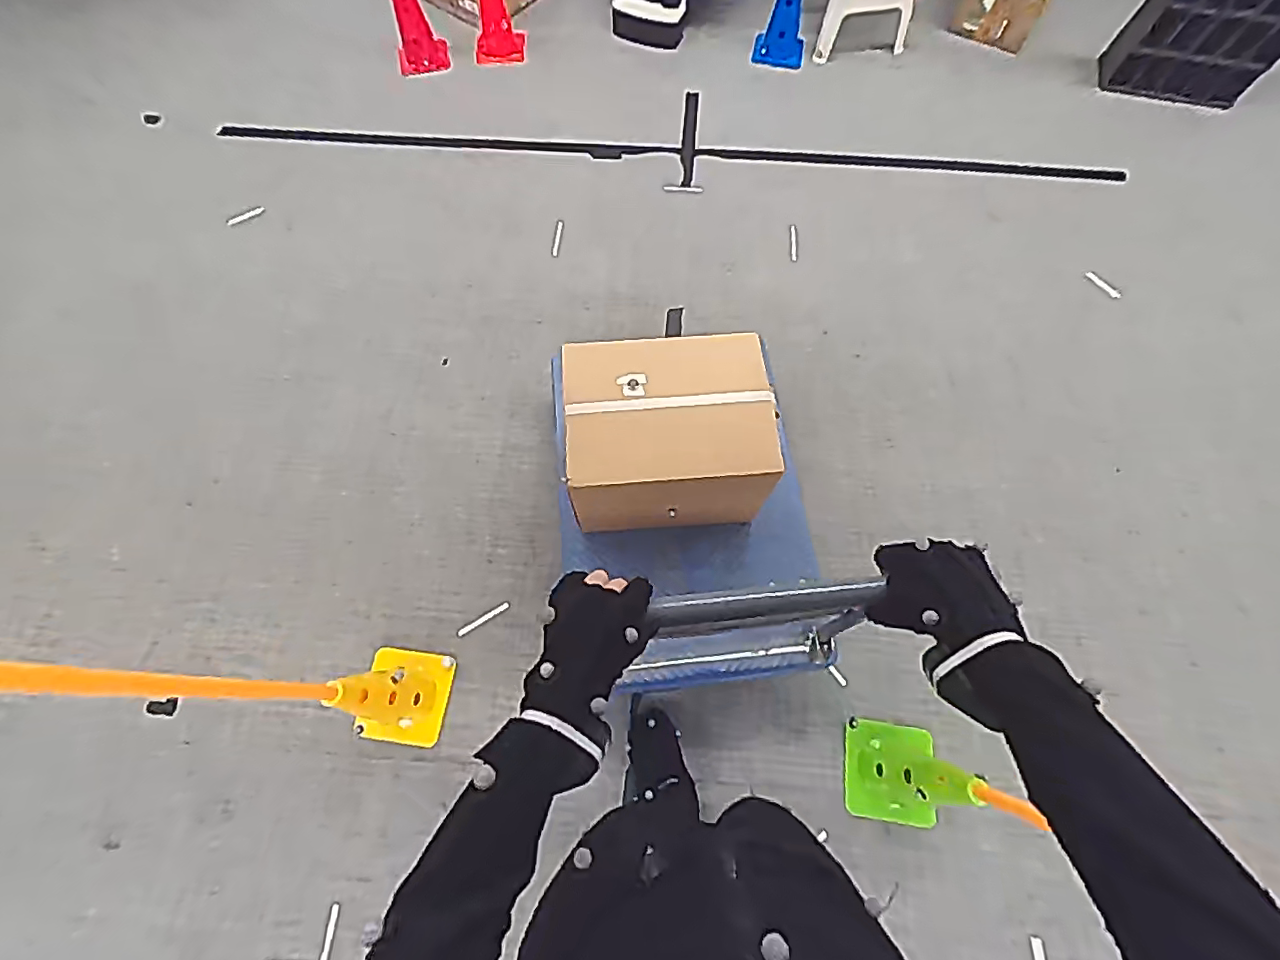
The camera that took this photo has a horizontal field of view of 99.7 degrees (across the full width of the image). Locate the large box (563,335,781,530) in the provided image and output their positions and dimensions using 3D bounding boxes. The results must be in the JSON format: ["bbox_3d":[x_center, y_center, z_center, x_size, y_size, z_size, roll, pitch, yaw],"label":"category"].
[{"bbox_3d":[0.055,-0.087,1.192,0.408,0.320,0.320,-4,68,-1],"label":"large box"}]

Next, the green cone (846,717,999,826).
[{"bbox_3d":[0.573,0.594,1.069,0.202,0.368,0.200,8,68,2],"label":"green cone"}]
